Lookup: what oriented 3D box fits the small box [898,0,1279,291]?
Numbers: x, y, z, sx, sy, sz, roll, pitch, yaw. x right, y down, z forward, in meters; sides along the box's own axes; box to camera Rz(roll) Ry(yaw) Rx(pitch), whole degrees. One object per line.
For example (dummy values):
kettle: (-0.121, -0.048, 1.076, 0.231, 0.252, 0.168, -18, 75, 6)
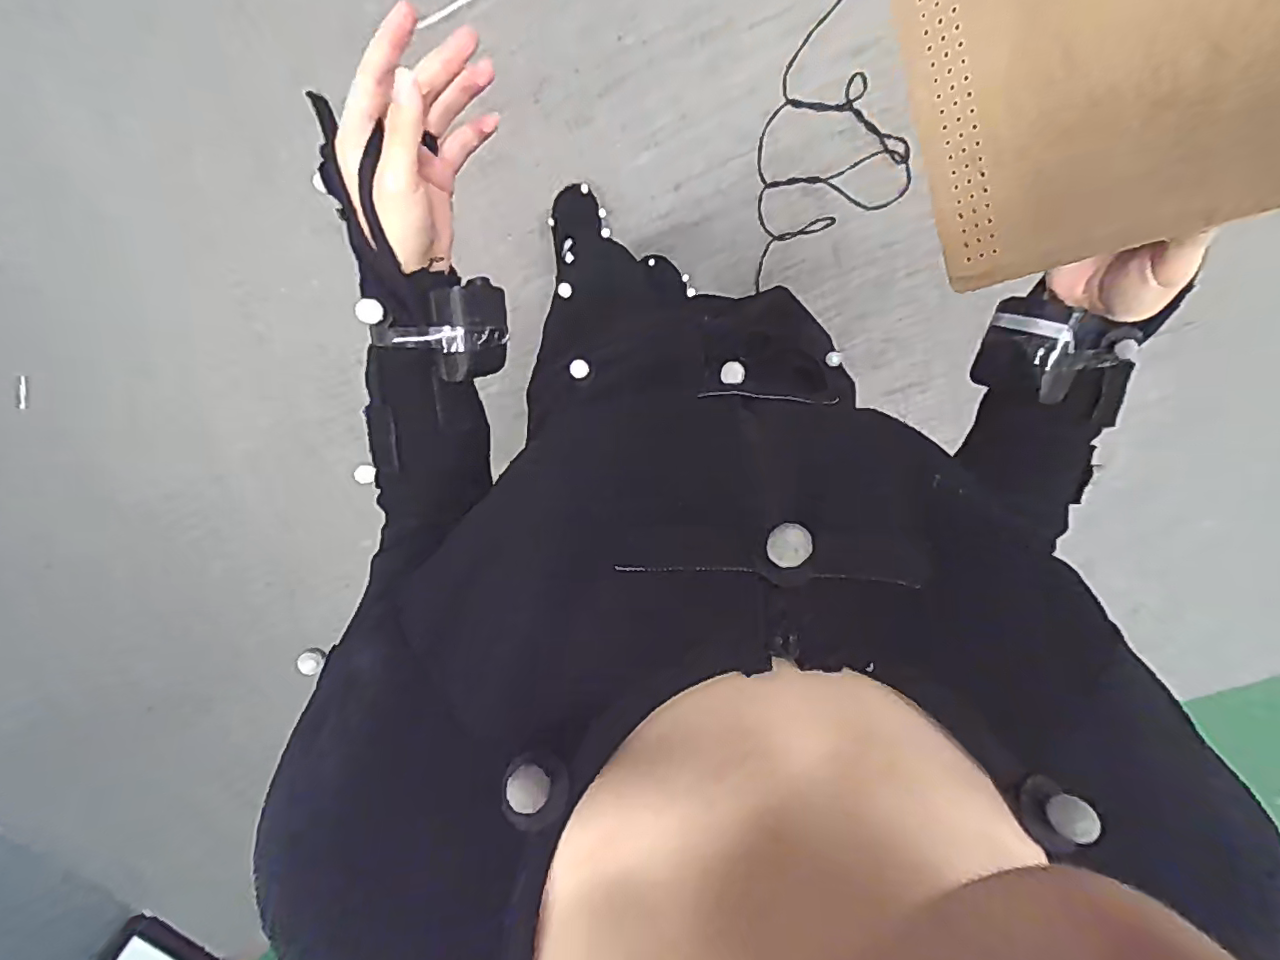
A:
small box: (0.224, -0.192, 0.196, 0.168, 0.176, 0.179, -22, 101, -13)
